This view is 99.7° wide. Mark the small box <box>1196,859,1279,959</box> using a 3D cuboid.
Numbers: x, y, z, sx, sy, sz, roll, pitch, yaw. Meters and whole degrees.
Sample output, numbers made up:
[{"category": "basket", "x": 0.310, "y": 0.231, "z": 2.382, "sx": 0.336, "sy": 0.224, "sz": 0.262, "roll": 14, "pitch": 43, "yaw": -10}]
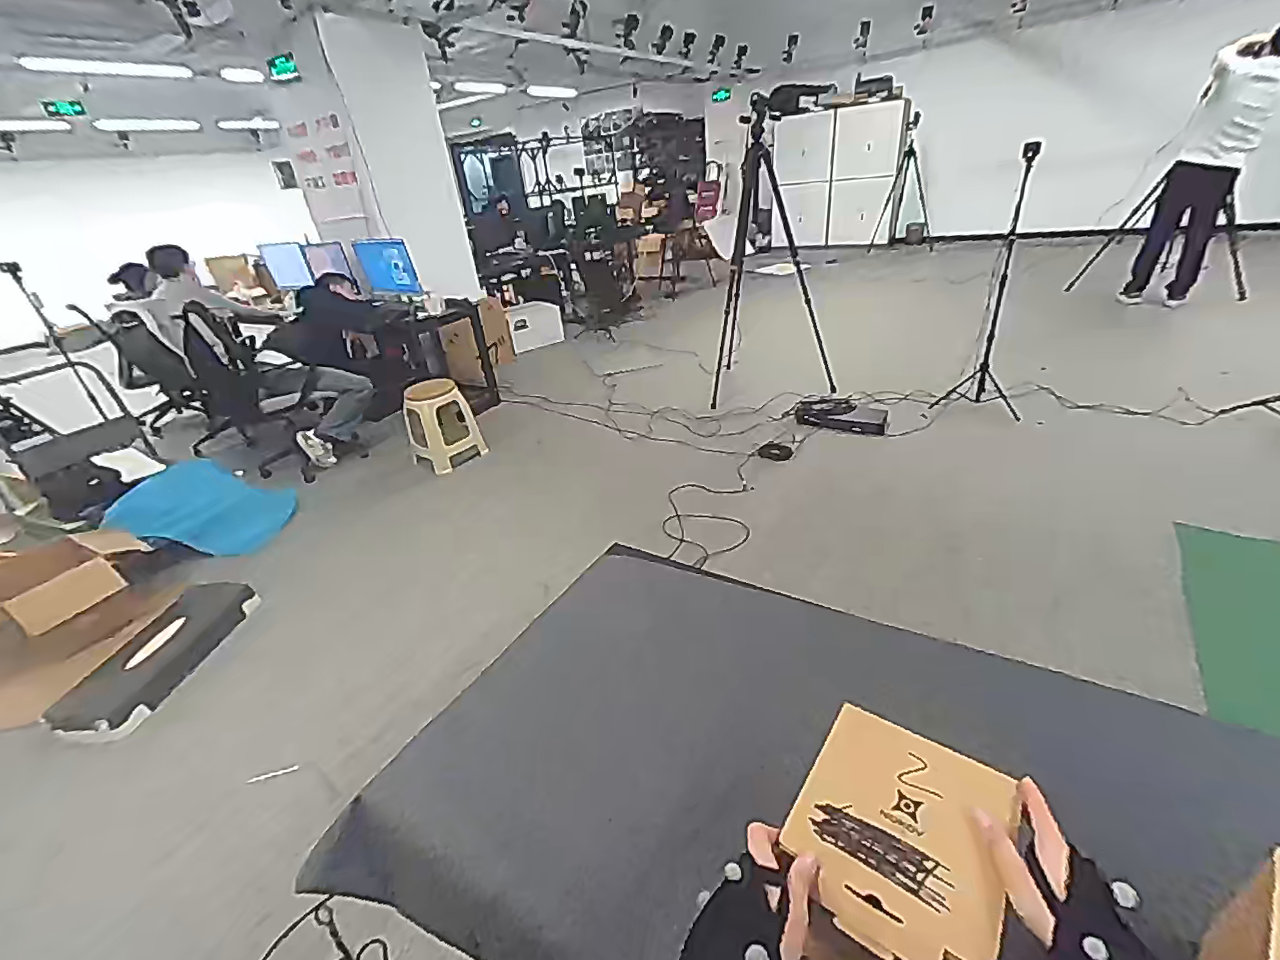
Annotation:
[{"category": "small box", "x": 0.521, "y": 0.423, "z": 0.370, "sx": 0.168, "sy": 0.176, "sz": 0.179, "roll": -28, "pitch": 35, "yaw": -34}]
